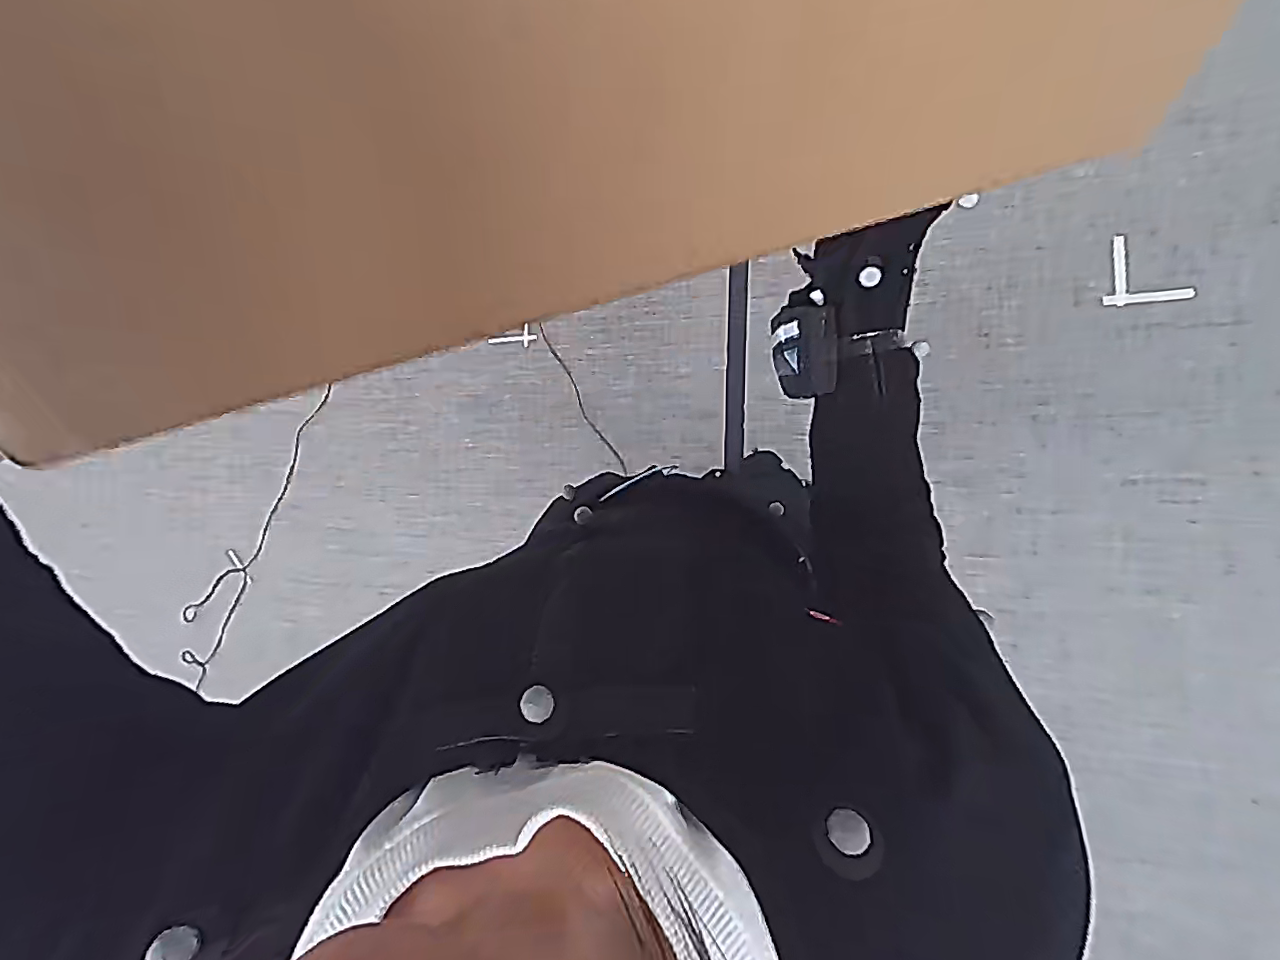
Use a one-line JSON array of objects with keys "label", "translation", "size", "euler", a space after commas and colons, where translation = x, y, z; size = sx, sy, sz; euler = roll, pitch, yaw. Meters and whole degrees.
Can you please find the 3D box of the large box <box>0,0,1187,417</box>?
[{"label": "large box", "translation": [-0.011, -0.281, 0.158], "size": [0.408, 0.320, 0.320], "euler": [-25, 55, -20]}]
